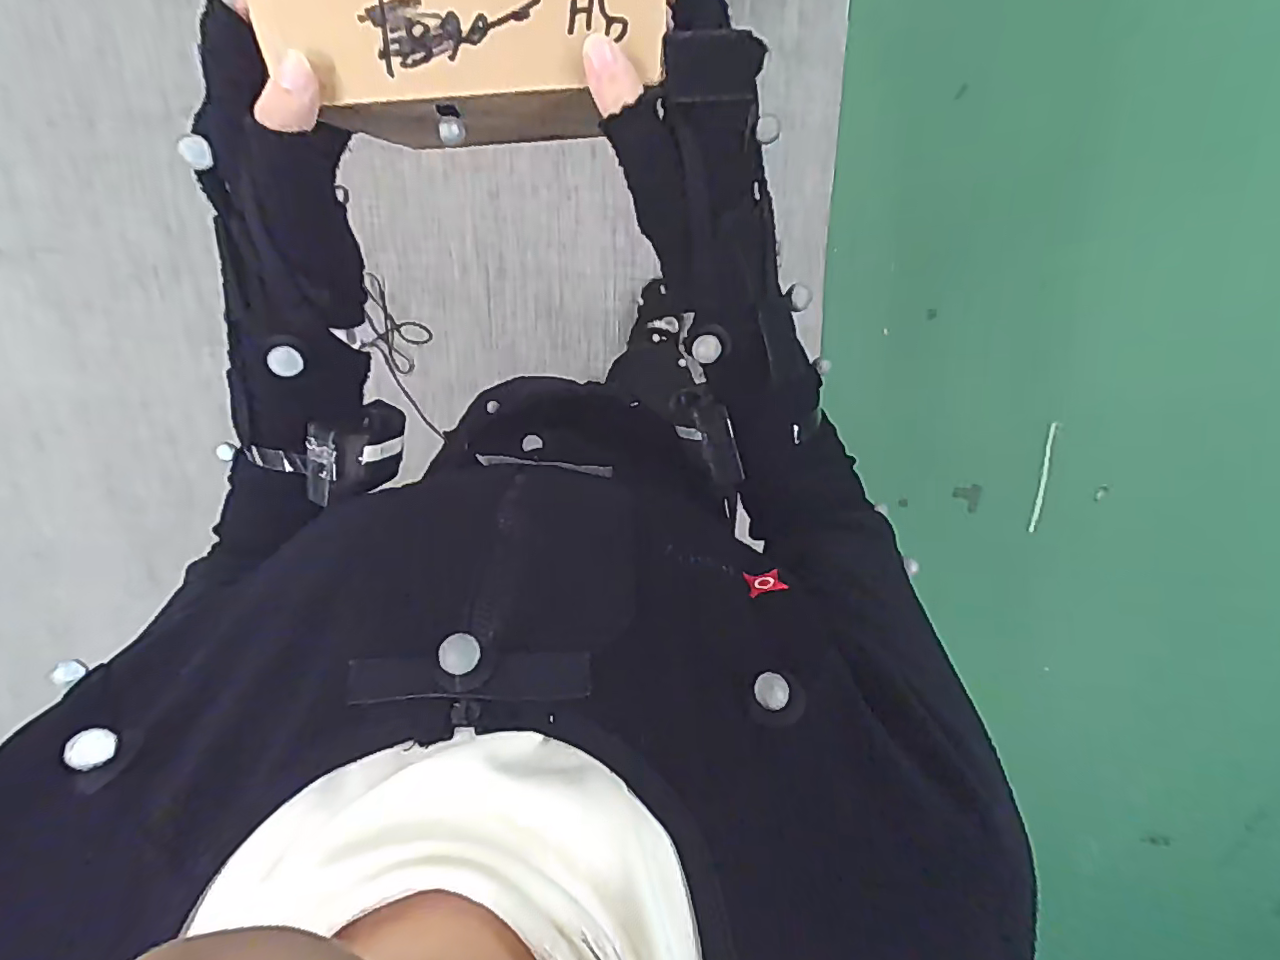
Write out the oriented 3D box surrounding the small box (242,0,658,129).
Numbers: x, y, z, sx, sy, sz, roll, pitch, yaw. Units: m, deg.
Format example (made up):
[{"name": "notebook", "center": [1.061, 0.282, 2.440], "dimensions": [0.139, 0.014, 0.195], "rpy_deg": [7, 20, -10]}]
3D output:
[{"name": "small box", "center": [-0.084, -0.287, 0.258], "dimensions": [0.168, 0.176, 0.179], "rpy_deg": [-5, 117, -1]}]
